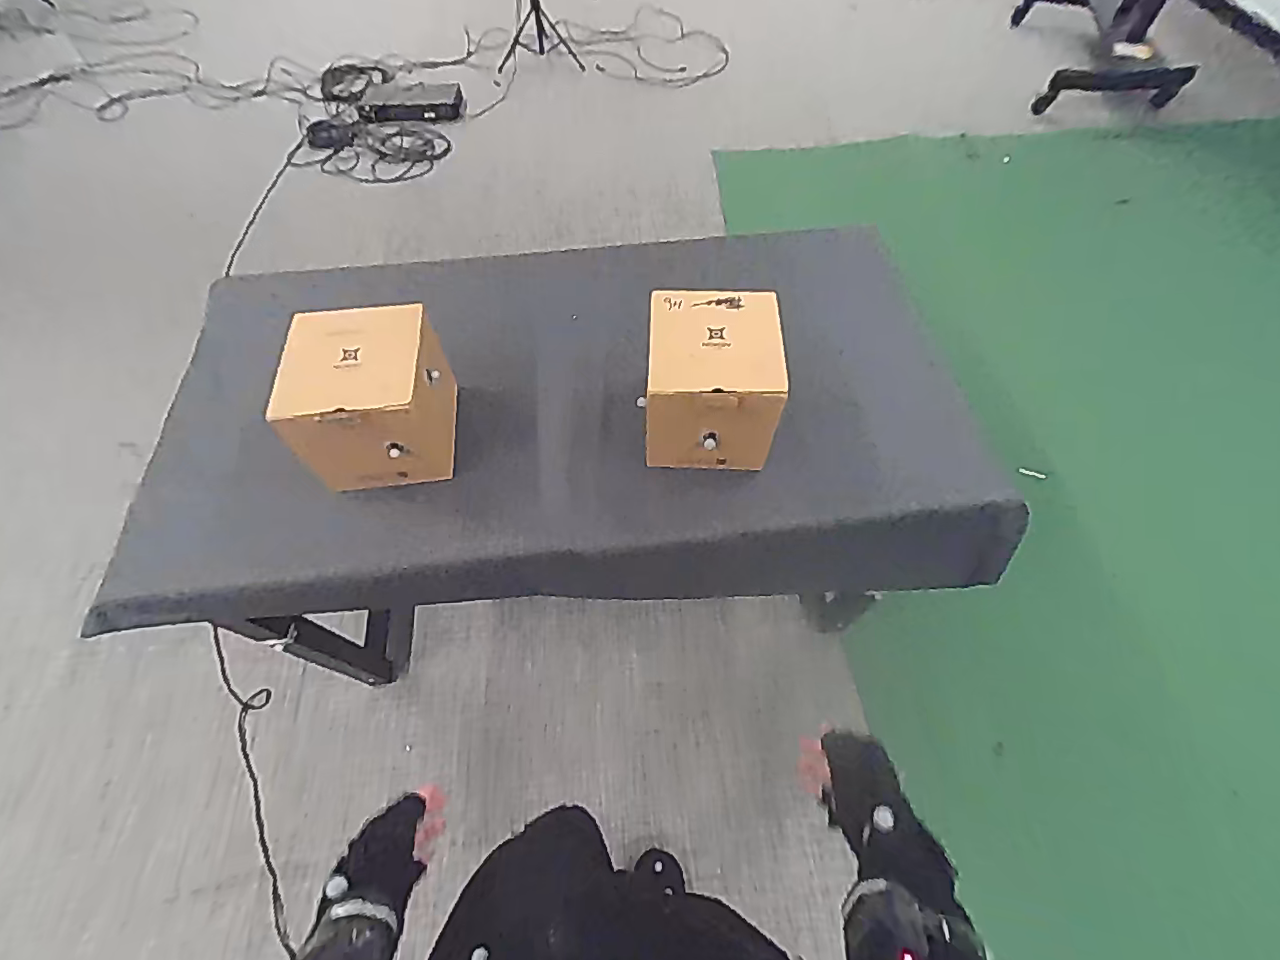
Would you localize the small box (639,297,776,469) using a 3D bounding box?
[{"bbox_3d":[0.086,-0.128,0.747,0.168,0.176,0.179,1,61,2],"label":"small box"}]

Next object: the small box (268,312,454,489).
[{"bbox_3d":[-0.362,-0.100,0.740,0.168,0.176,0.179,-7,58,-5],"label":"small box"}]
